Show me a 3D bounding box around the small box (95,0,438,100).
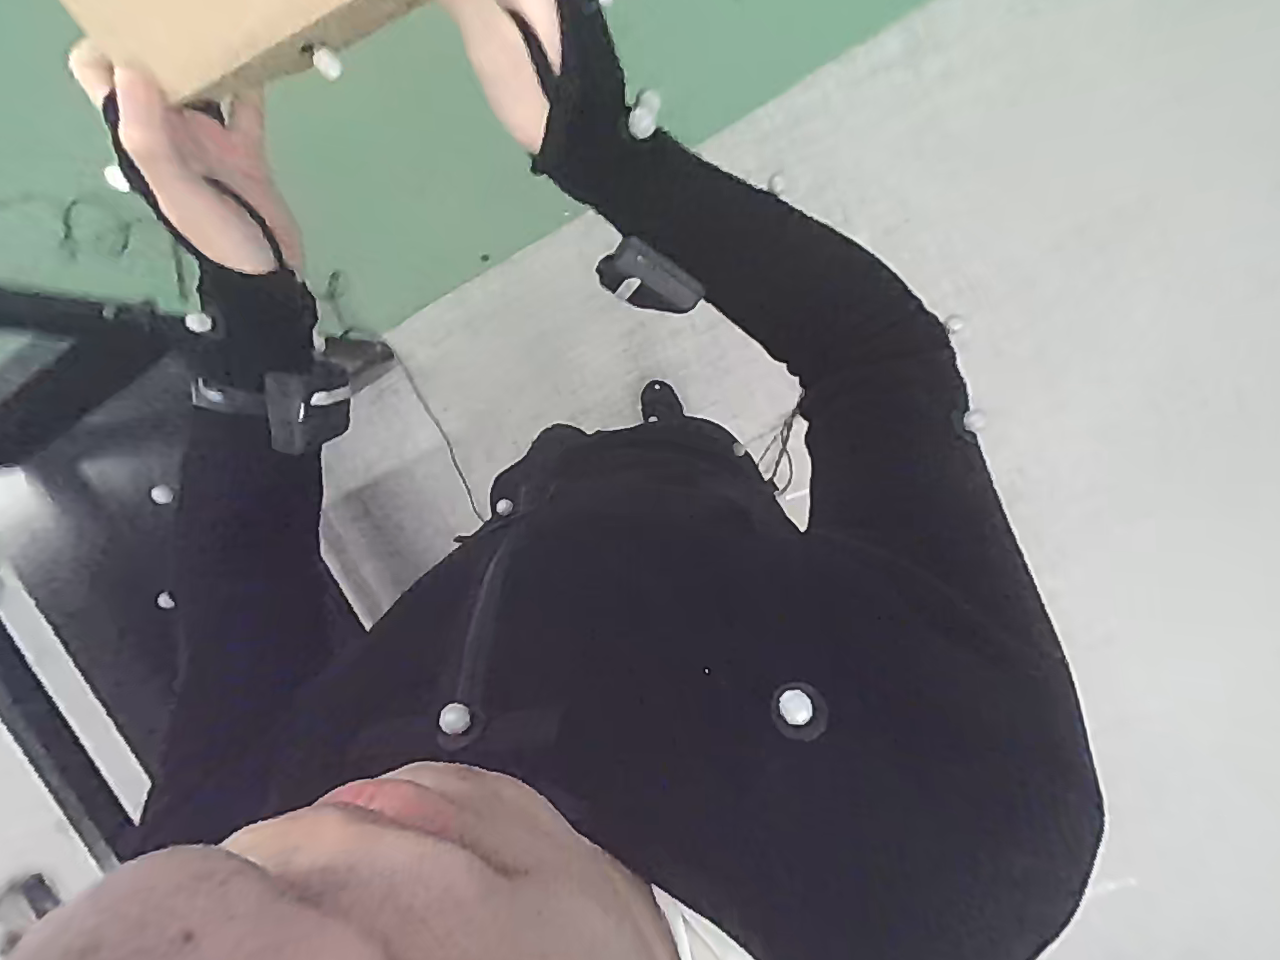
[{"bbox_3d":[-0.187,-0.325,0.260,0.168,0.176,0.179,-16,130,13],"label":"small box"}]
